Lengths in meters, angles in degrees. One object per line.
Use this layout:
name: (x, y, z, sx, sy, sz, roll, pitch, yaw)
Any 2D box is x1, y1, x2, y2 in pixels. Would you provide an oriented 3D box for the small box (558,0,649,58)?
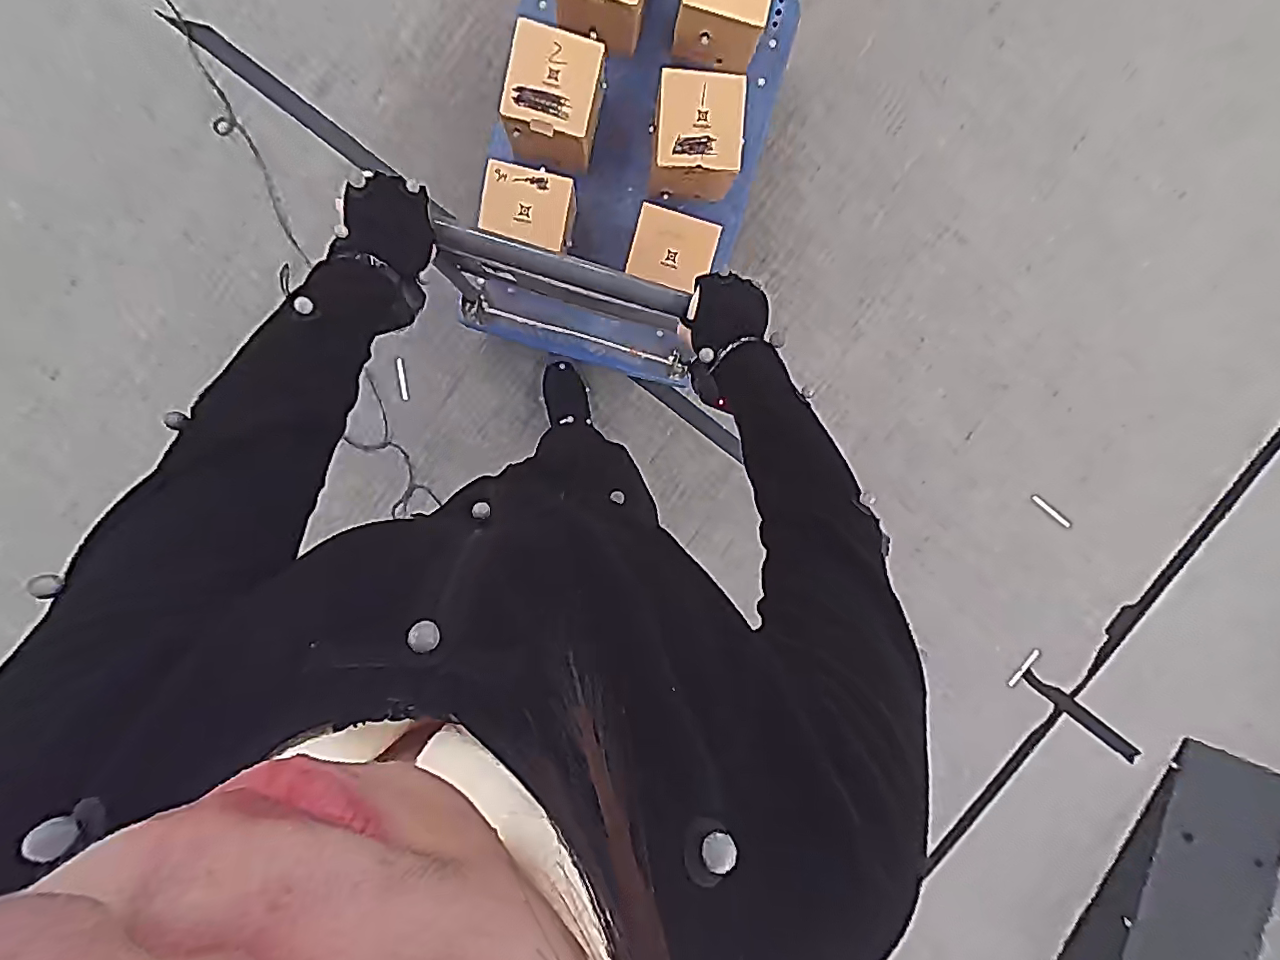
small box: (-0.064, -0.995, 1.065, 0.168, 0.176, 0.179, 17, 98, -6)

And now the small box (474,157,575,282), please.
small box: (-0.232, -0.530, 1.128, 0.168, 0.176, 0.179, 11, 98, -7)

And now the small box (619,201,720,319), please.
small box: (0.055, -0.459, 1.161, 0.168, 0.176, 0.179, 15, 97, -7)

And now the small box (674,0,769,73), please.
small box: (0.169, -0.972, 1.088, 0.168, 0.176, 0.179, 12, 98, -6)

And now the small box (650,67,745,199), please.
small box: (0.112, -0.708, 1.125, 0.168, 0.176, 0.179, 3, 98, -4)
